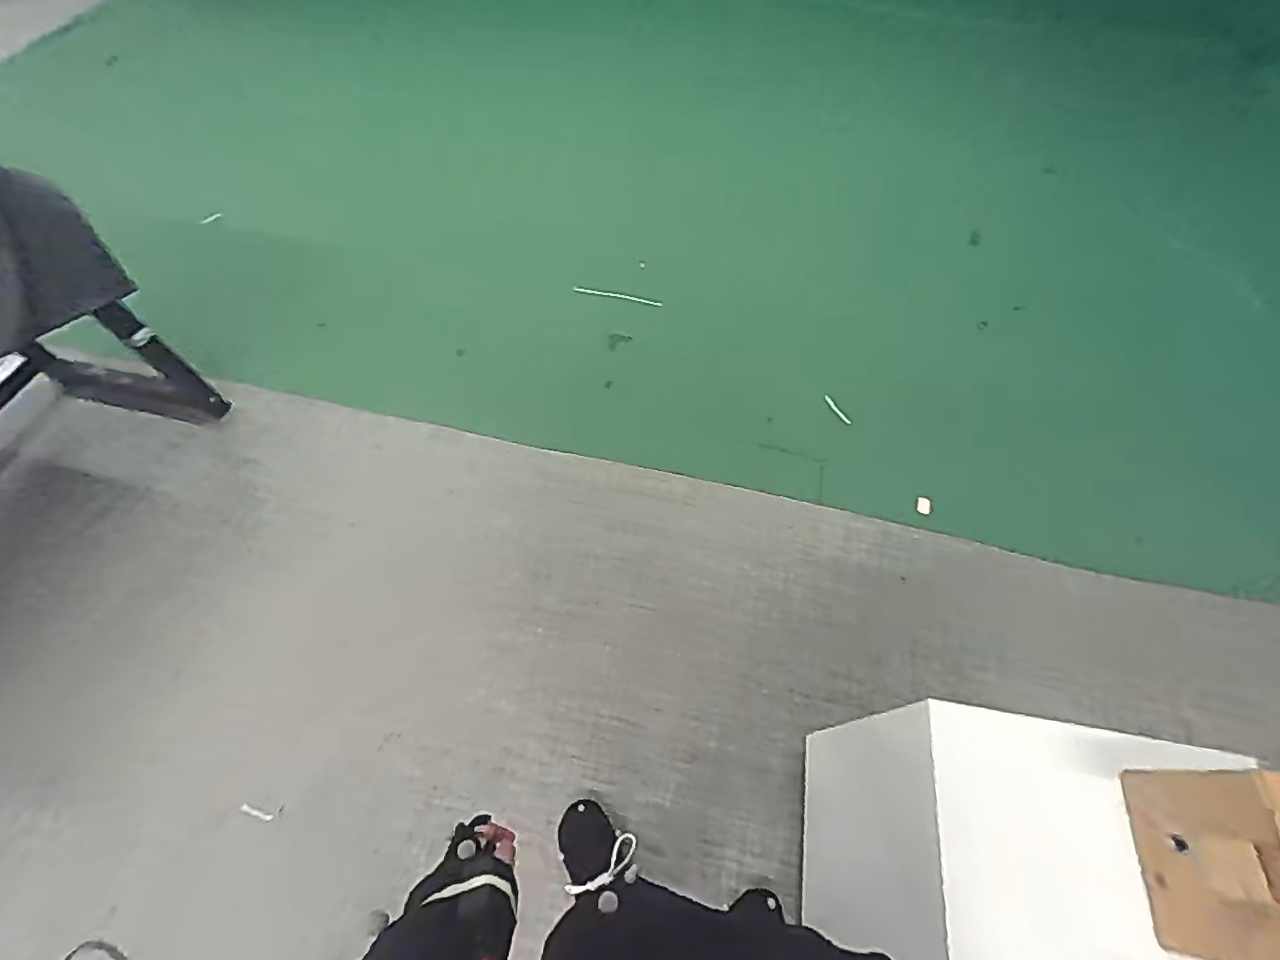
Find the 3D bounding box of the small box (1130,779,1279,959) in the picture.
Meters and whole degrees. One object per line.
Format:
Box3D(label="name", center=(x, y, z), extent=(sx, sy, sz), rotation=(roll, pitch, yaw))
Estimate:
Box3D(label="small box", center=(0.637, 0.391, 0.514), extent=(0.179, 0.176, 0.168), rotation=(8, 61, 6))
